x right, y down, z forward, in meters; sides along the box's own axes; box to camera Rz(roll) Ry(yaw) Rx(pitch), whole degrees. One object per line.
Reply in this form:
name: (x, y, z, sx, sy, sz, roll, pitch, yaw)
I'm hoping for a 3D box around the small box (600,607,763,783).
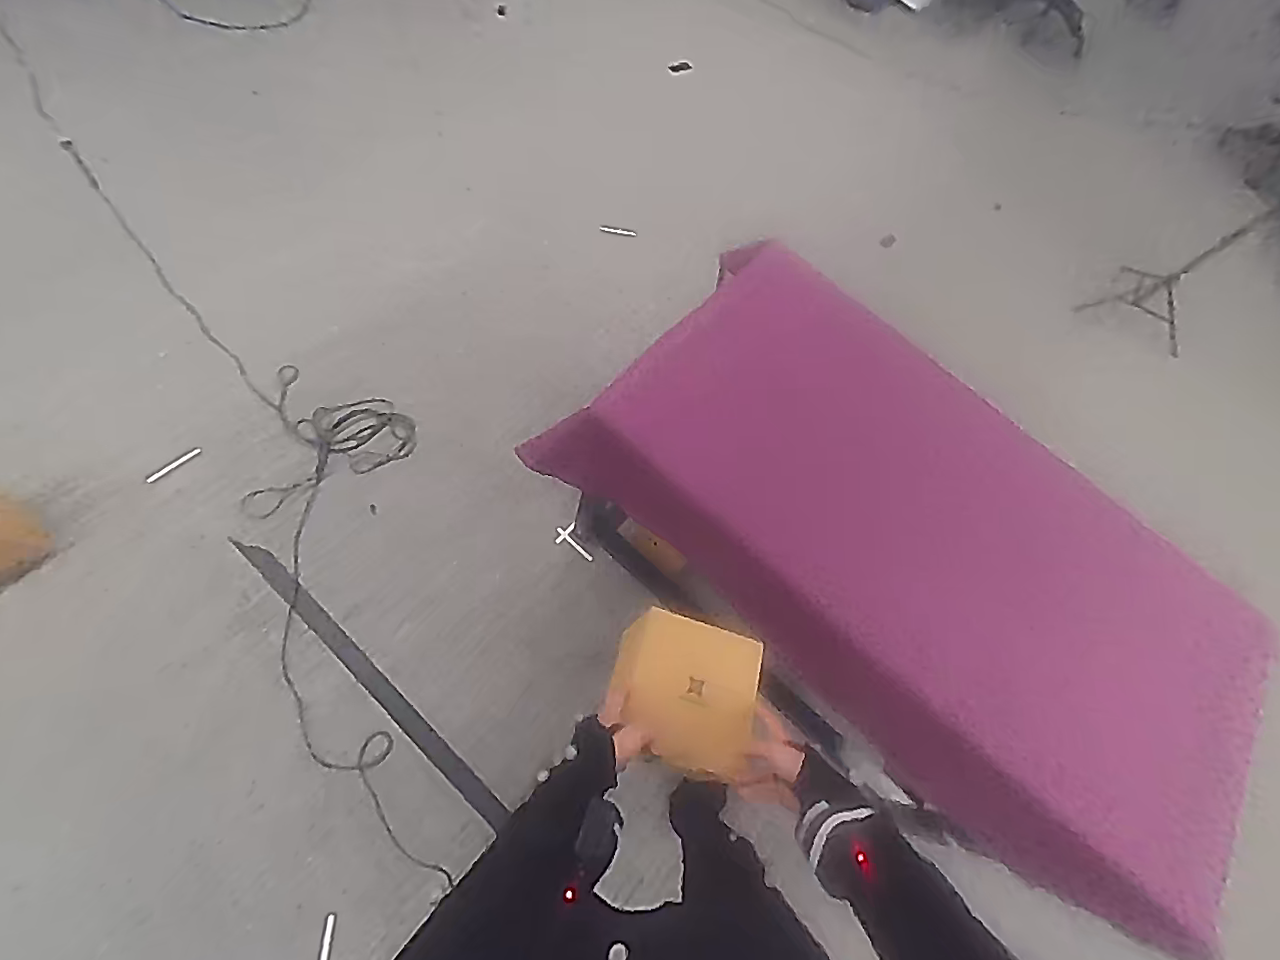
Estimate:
small box: (0.051, 0.301, 0.754, 0.168, 0.176, 0.179, 19, 61, -5)
